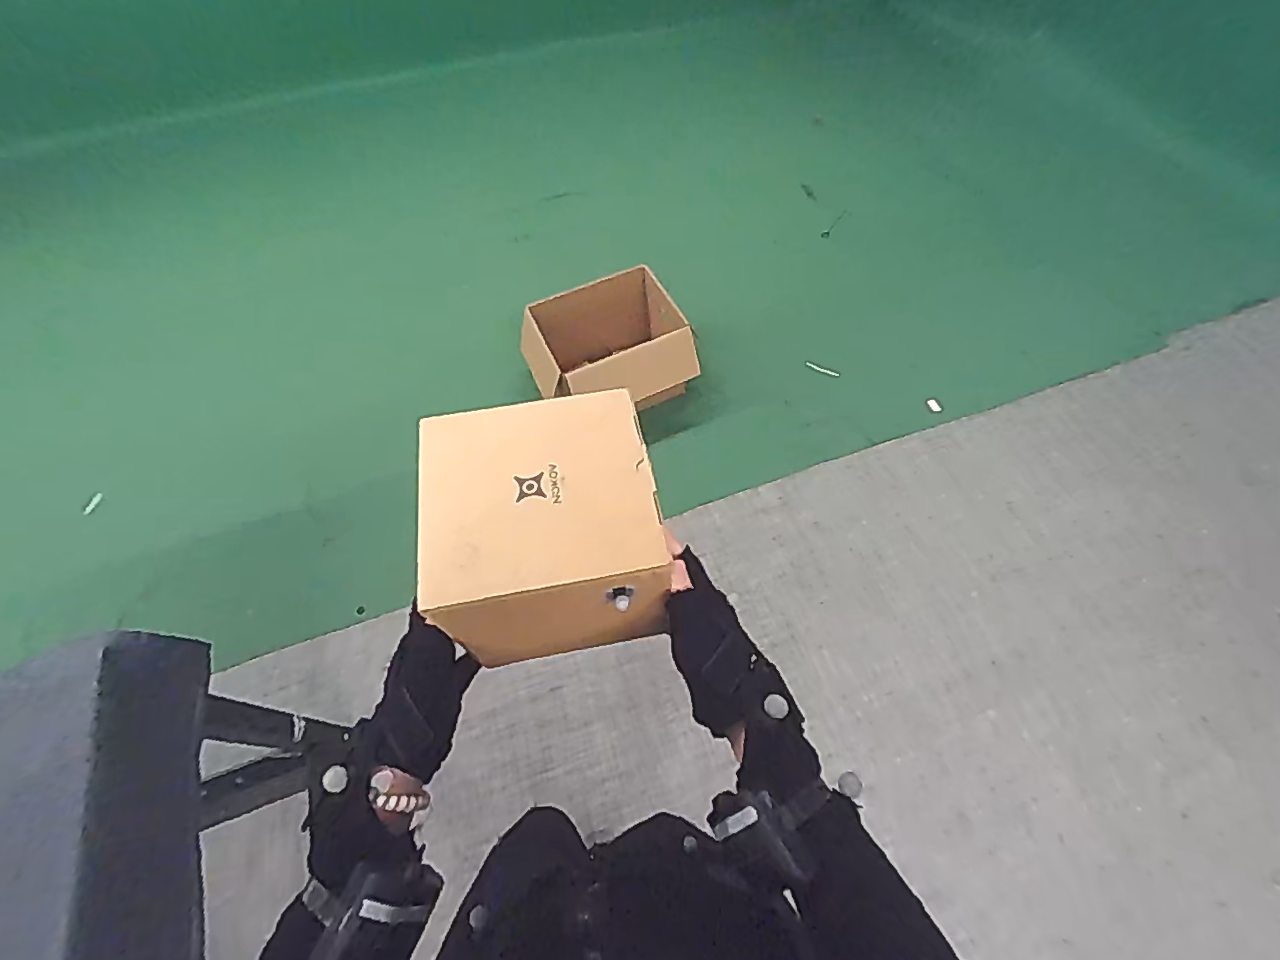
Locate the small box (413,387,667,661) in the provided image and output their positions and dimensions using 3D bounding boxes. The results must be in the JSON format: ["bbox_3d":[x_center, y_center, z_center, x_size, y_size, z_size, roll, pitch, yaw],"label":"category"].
[{"bbox_3d":[-0.078,0.046,0.472,0.179,0.176,0.168,-10,59,-6],"label":"small box"}]
